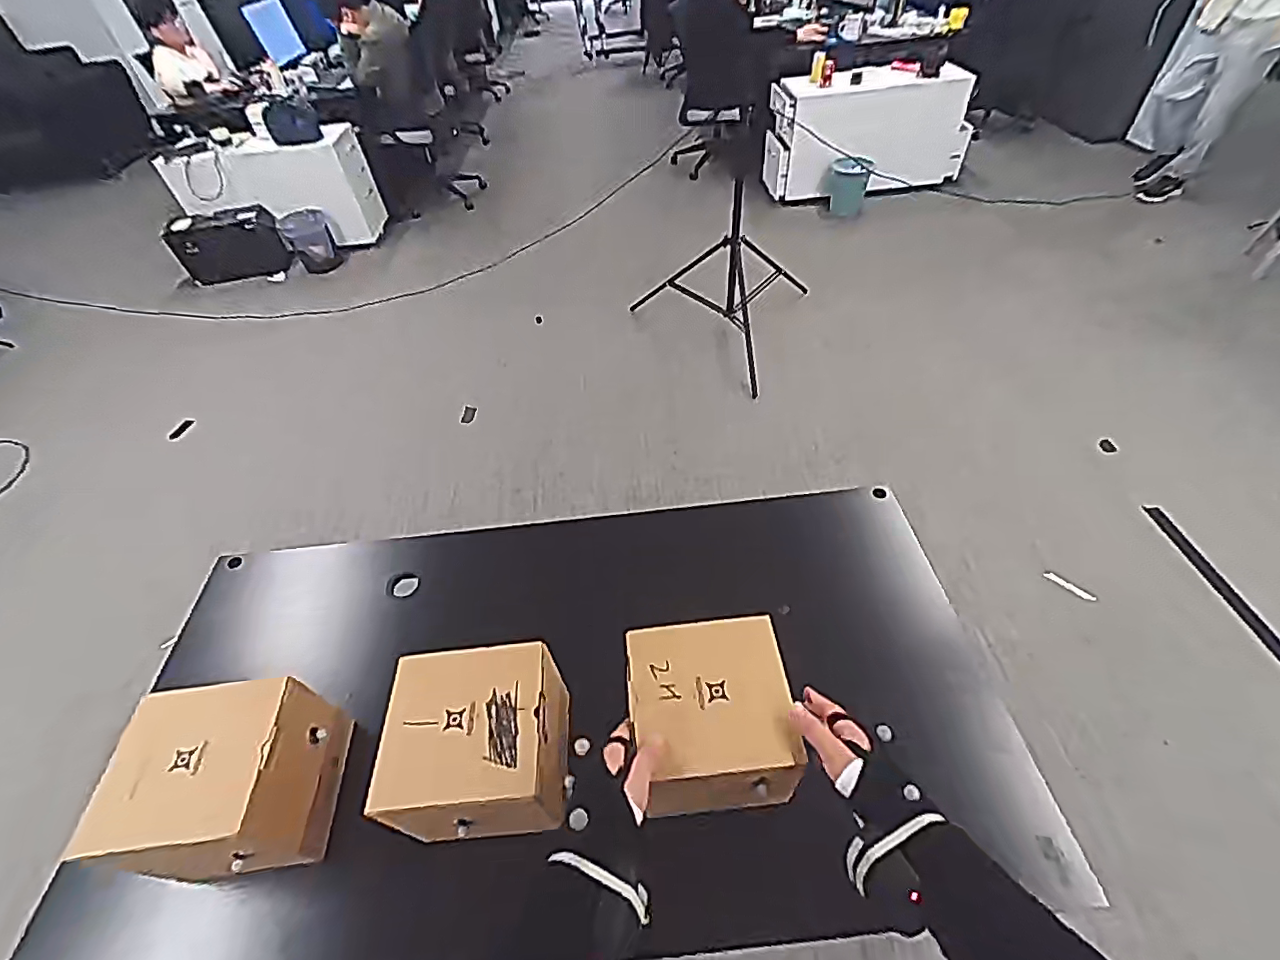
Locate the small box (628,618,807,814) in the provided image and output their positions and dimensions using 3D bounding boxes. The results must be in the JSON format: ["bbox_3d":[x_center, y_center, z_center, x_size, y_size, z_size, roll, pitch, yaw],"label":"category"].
[{"bbox_3d":[0.082,0.287,0.654,0.179,0.176,0.168,-7,48,0],"label":"small box"}]

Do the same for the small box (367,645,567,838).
[{"bbox_3d":[-0.187,0.318,0.653,0.179,0.176,0.168,-6,48,1],"label":"small box"}]

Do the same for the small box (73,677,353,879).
[{"bbox_3d":[-0.479,0.358,0.648,0.179,0.176,0.168,-9,47,-1],"label":"small box"}]
